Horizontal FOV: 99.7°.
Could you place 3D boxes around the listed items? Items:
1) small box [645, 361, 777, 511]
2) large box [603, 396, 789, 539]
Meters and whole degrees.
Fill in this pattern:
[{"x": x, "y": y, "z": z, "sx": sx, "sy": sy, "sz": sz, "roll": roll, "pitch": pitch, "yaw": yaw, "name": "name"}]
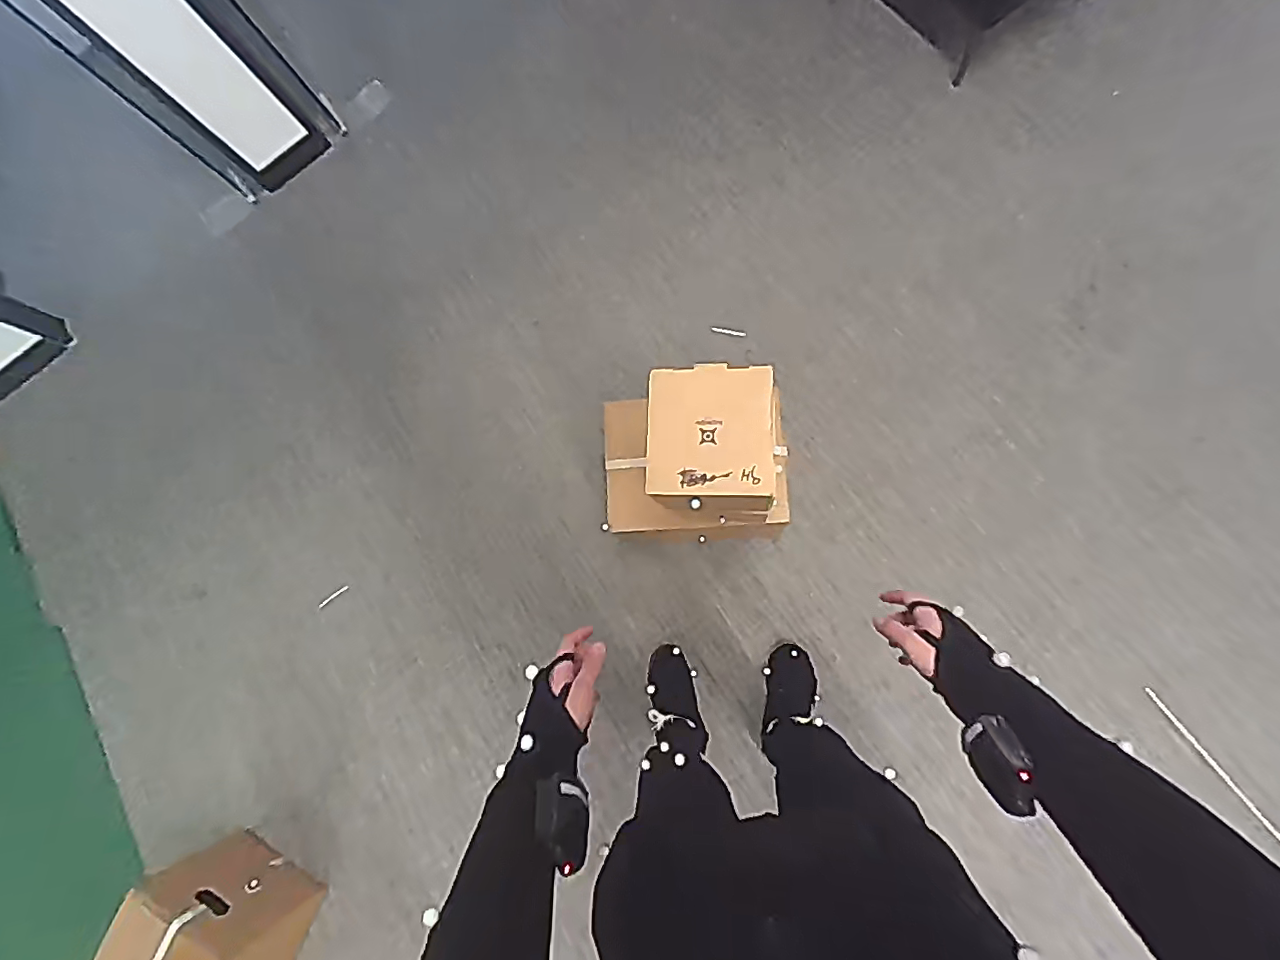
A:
[{"x": 0.106, "y": -0.056, "z": 0.775, "sx": 0.168, "sy": 0.176, "sz": 0.179, "roll": 1, "pitch": 80, "yaw": 12, "name": "small box"}, {"x": 0.144, "y": -0.025, "z": 1.353, "sx": 0.408, "sy": 0.320, "sz": 0.320, "roll": -4, "pitch": 78, "yaw": 10, "name": "large box"}]
